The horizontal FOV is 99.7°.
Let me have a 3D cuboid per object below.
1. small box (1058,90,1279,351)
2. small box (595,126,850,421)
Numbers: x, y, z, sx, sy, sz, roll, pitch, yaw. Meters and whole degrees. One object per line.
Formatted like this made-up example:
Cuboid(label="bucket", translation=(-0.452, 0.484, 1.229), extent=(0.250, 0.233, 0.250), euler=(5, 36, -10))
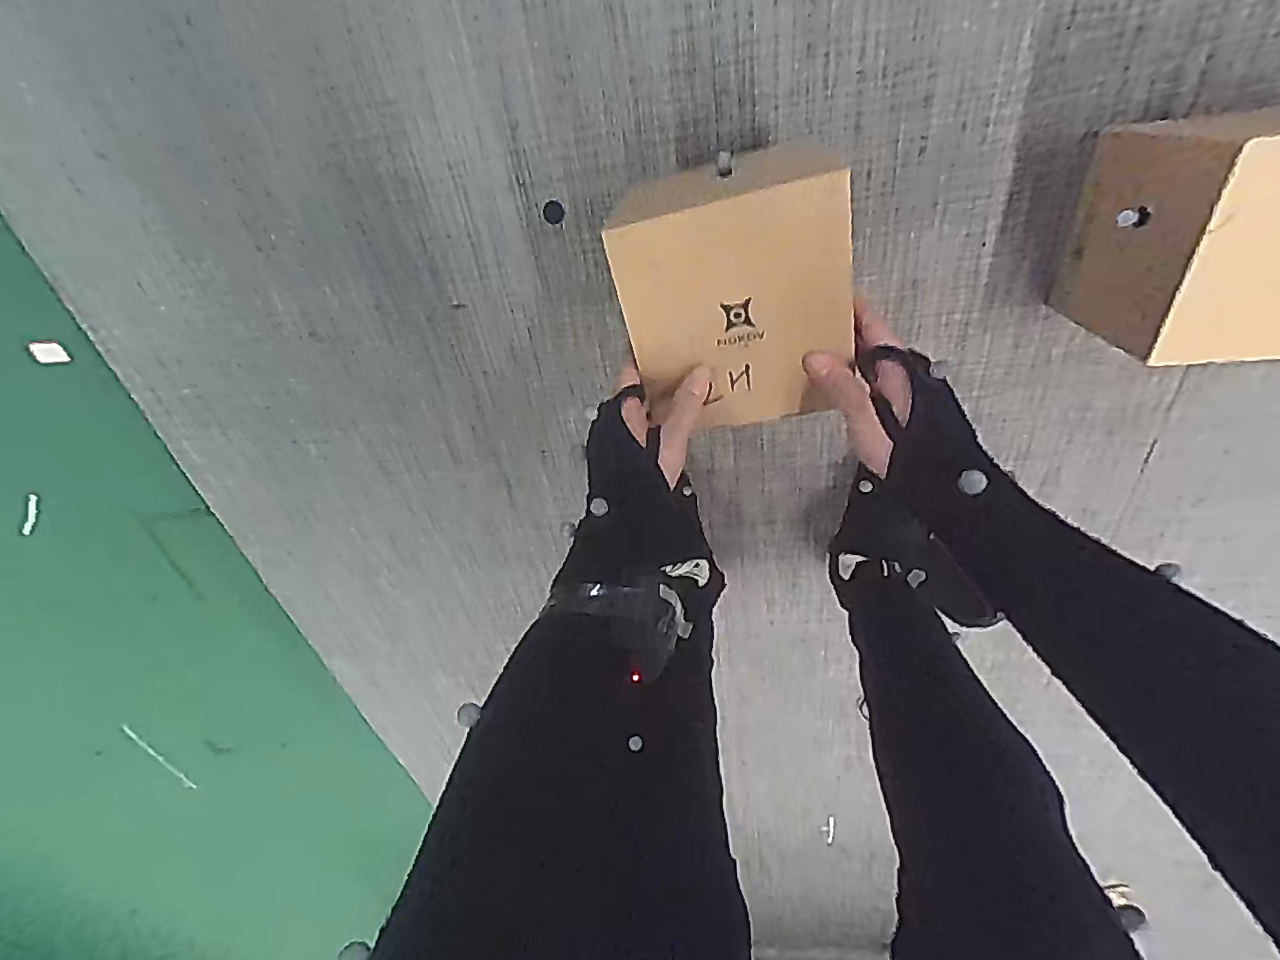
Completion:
Cuboid(label="small box", translation=(0.499, -0.218, 0.446), extent=(0.179, 0.176, 0.168), euler=(-3, 124, 7))
Cuboid(label="small box", translation=(0.074, -0.177, 0.454), extent=(0.168, 0.176, 0.179), euler=(-8, 127, 15))
